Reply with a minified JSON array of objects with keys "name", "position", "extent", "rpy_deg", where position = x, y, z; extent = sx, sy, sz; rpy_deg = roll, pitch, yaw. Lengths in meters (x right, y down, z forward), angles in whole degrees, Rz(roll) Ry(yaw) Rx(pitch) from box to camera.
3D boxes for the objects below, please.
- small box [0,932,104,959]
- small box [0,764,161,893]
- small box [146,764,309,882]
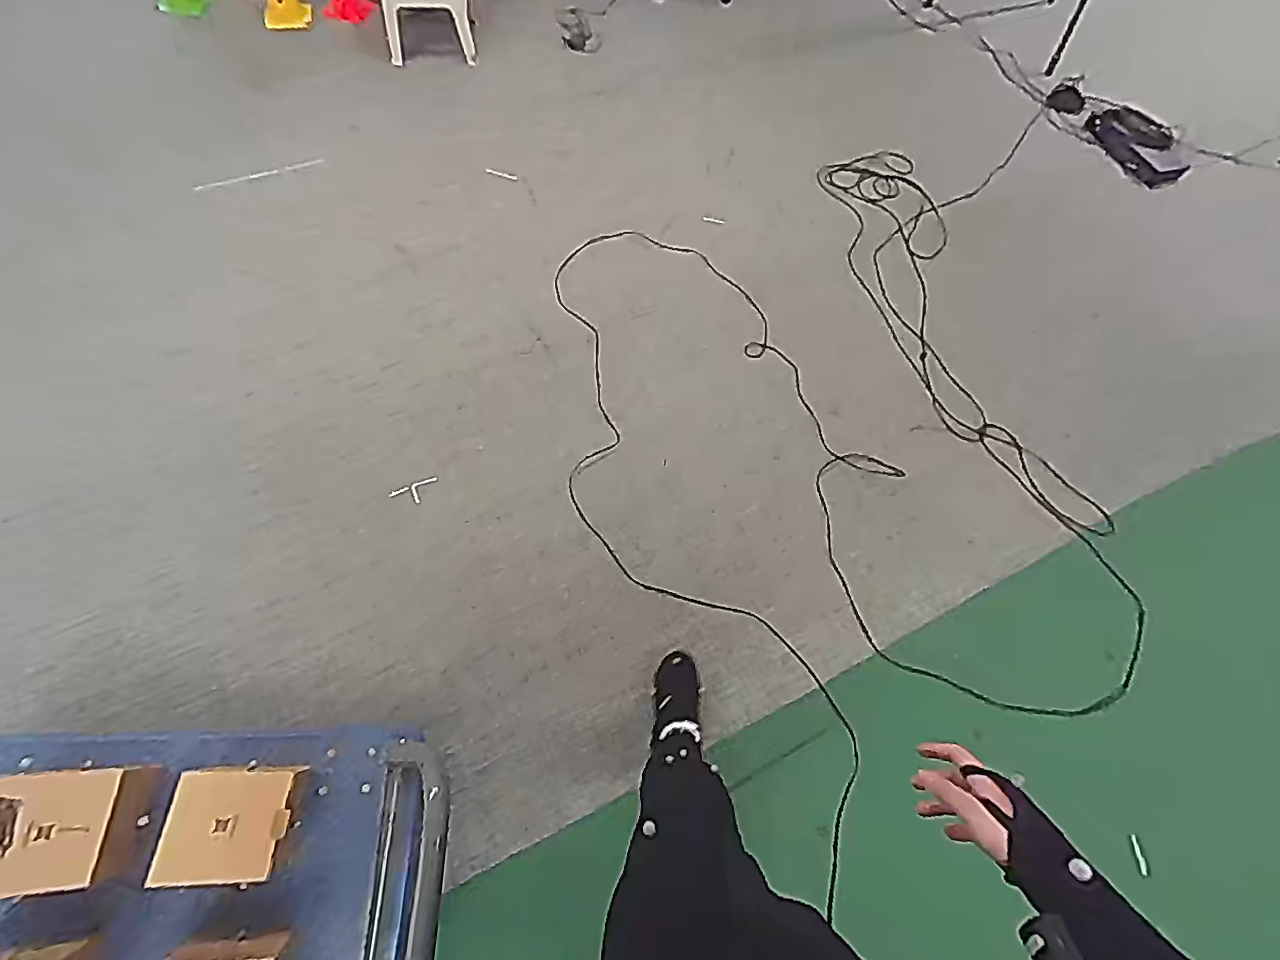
[{"name":"small box","position":[-0.963,0.810,0.804],"extent":[0.179,0.176,0.168],"rpy_deg":[4,63,-20]},{"name":"small box","position":[-0.970,0.579,0.913],"extent":[0.179,0.176,0.168],"rpy_deg":[6,64,-20]},{"name":"small box","position":[-0.737,0.618,0.991],"extent":[0.179,0.176,0.168],"rpy_deg":[10,62,-19]}]
